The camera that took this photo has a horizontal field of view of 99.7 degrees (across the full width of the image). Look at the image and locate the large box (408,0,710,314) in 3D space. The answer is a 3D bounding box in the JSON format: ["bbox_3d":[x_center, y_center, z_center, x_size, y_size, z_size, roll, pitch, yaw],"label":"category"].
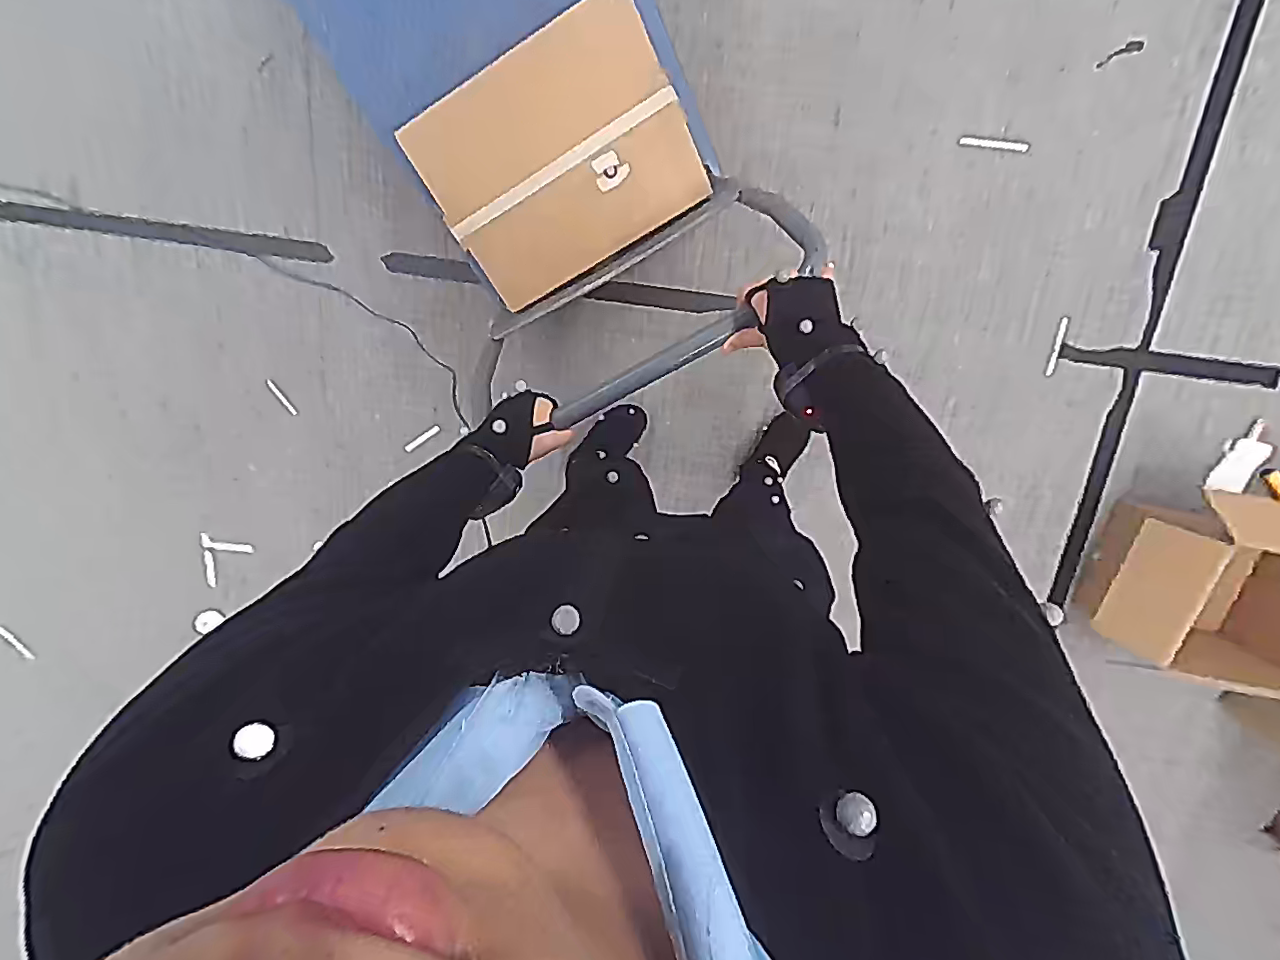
[{"bbox_3d":[-0.137,-0.575,1.007,0.408,0.320,0.320,-28,119,10],"label":"large box"}]
